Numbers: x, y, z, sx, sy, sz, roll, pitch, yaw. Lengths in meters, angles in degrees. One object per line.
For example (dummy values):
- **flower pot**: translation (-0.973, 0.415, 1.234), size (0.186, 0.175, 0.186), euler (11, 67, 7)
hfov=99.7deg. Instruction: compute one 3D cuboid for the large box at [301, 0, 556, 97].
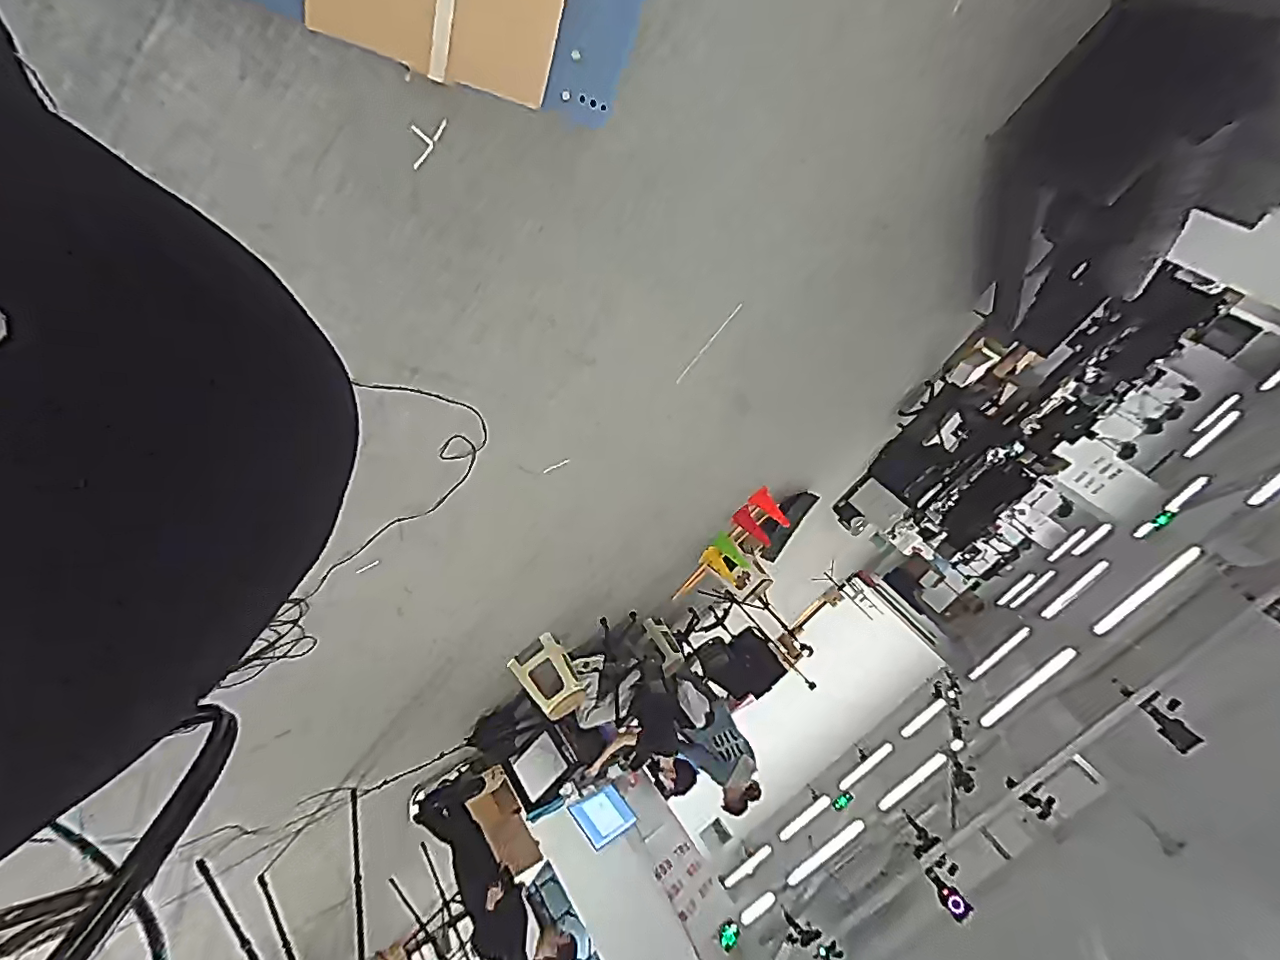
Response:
- **large box**: translation (-0.281, -0.824, 0.729), size (0.320, 0.320, 0.408), euler (-1, 133, -30)
